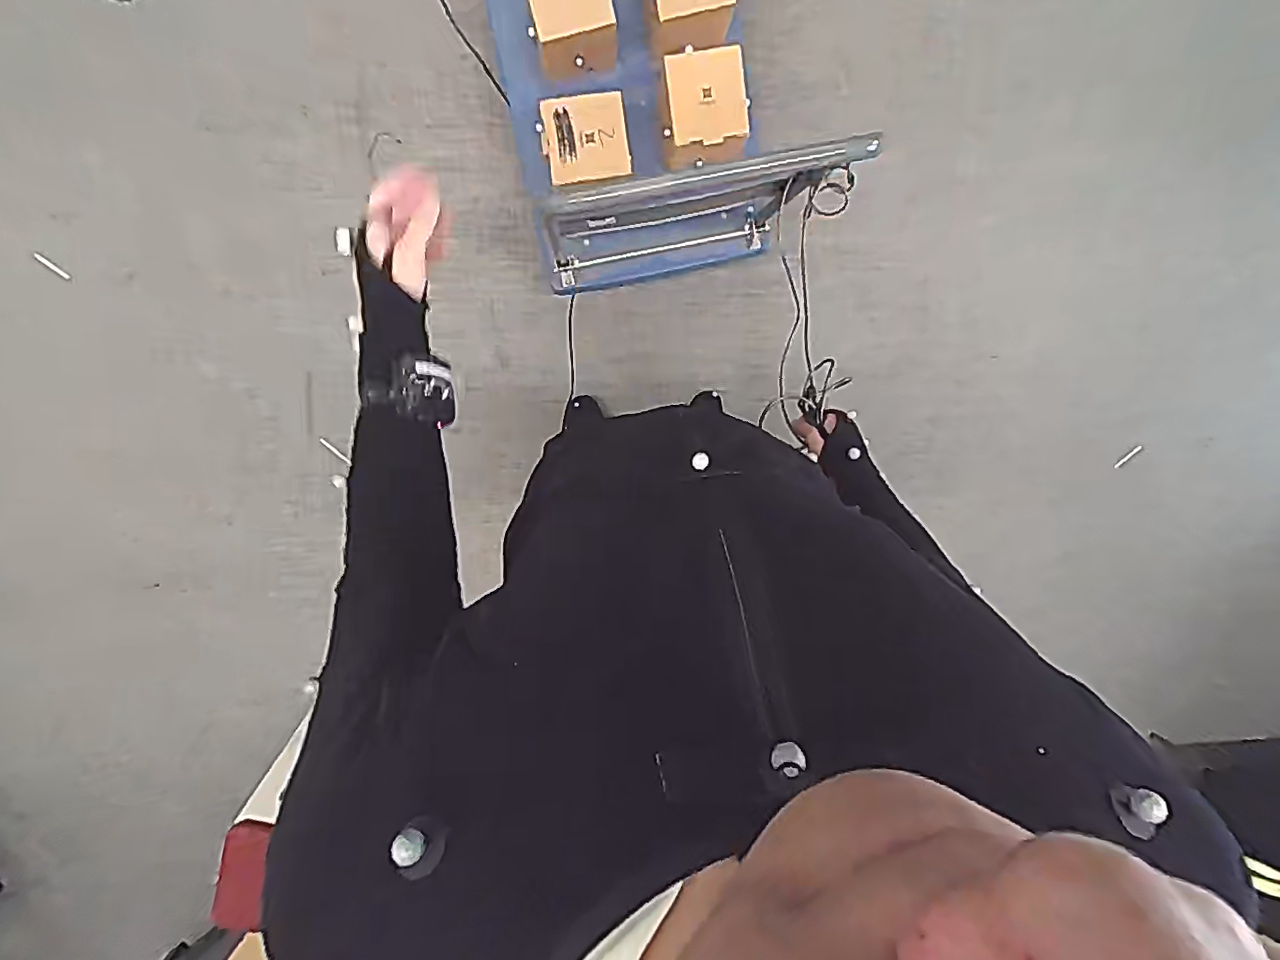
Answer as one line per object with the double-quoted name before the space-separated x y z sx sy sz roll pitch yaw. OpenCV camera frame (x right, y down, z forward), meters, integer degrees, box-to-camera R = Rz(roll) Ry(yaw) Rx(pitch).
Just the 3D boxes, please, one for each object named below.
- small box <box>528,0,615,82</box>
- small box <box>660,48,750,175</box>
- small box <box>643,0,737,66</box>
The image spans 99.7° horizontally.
"small box" -0.152 -1.011 1.180 0.168 0.176 0.179 -15 101 0
"small box" 0.142 -0.826 1.227 0.168 0.176 0.179 -10 101 -1
"small box" 0.100 -1.059 1.181 0.168 0.176 0.179 -13 101 1
